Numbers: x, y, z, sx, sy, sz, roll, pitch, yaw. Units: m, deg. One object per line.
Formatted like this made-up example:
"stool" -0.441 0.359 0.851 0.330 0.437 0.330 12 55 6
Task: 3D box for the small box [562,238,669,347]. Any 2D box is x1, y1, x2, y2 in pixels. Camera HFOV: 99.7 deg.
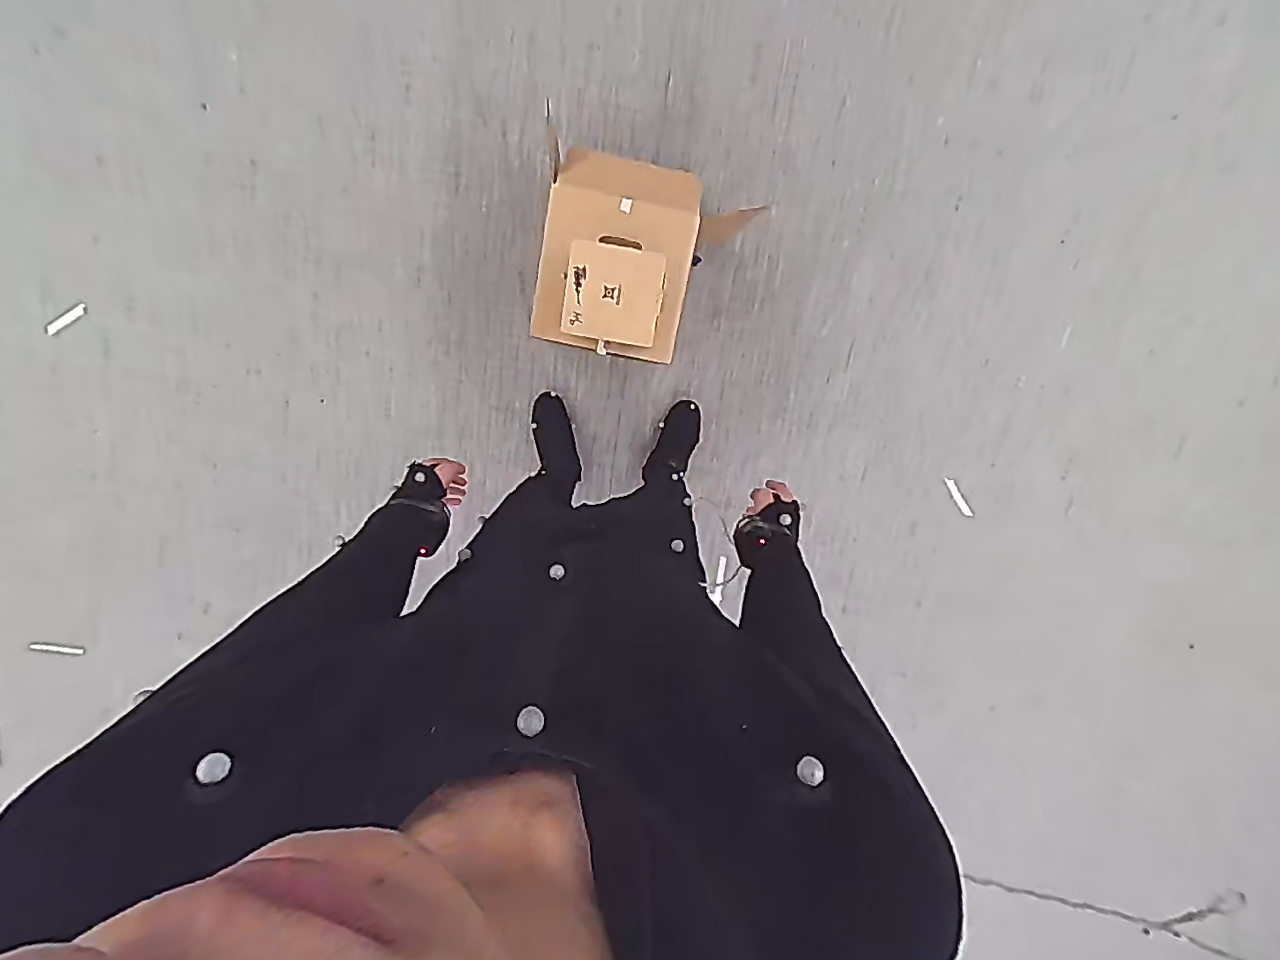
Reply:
"small box" -0.050 -0.363 1.067 0.179 0.176 0.168 9 104 -5
